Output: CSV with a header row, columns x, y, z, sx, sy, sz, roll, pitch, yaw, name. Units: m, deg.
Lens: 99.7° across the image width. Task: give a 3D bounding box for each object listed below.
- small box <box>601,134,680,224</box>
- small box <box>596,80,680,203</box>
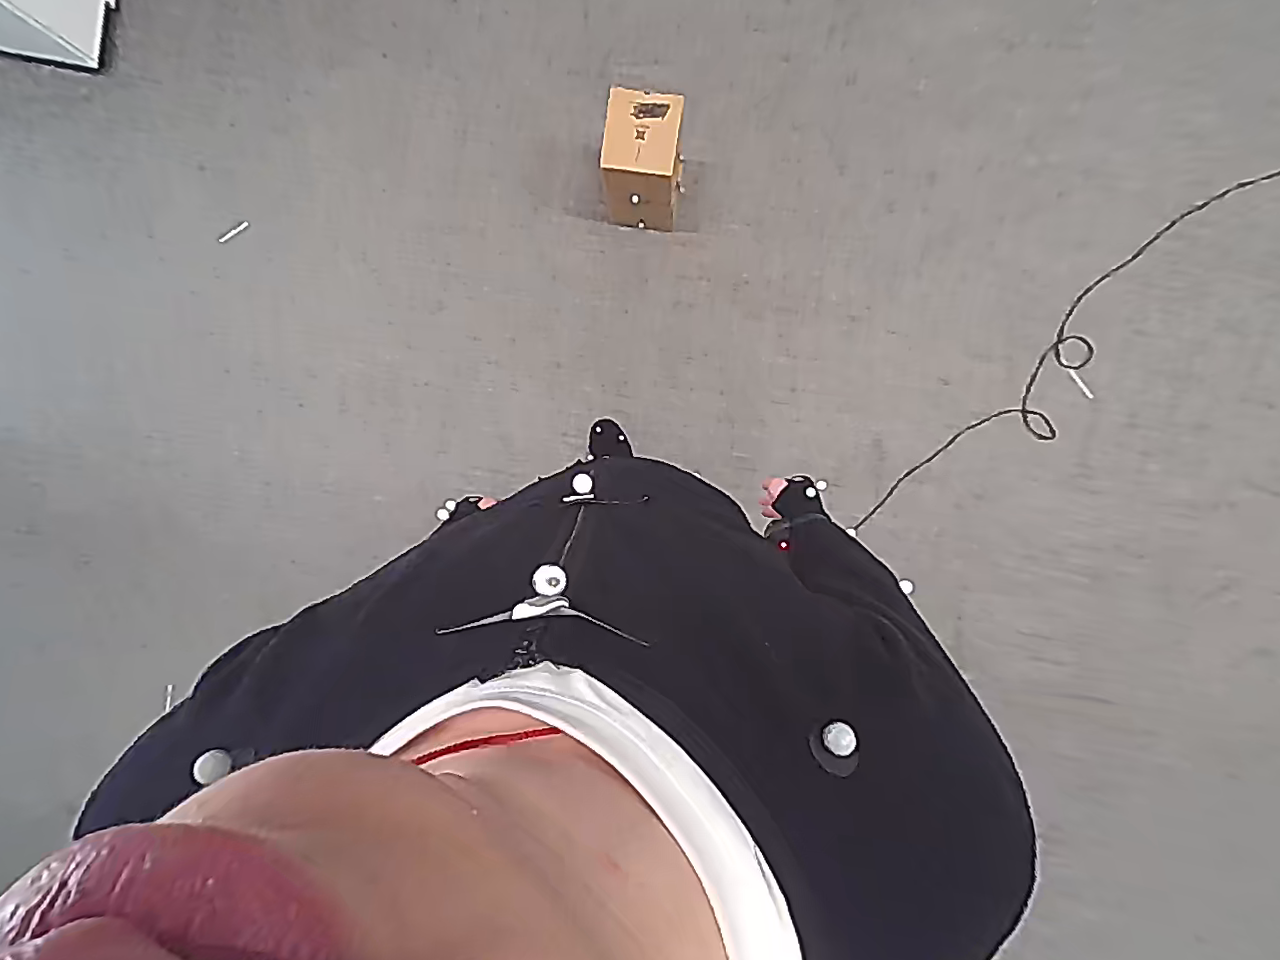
x,y,z,sx,sy,sz,roll,pitch,yaw,name
0.003,-0.800,1.430,0.179,0.176,0.168,10,93,1,small box
-0.003,-0.783,1.266,0.168,0.176,0.179,9,94,2,small box
